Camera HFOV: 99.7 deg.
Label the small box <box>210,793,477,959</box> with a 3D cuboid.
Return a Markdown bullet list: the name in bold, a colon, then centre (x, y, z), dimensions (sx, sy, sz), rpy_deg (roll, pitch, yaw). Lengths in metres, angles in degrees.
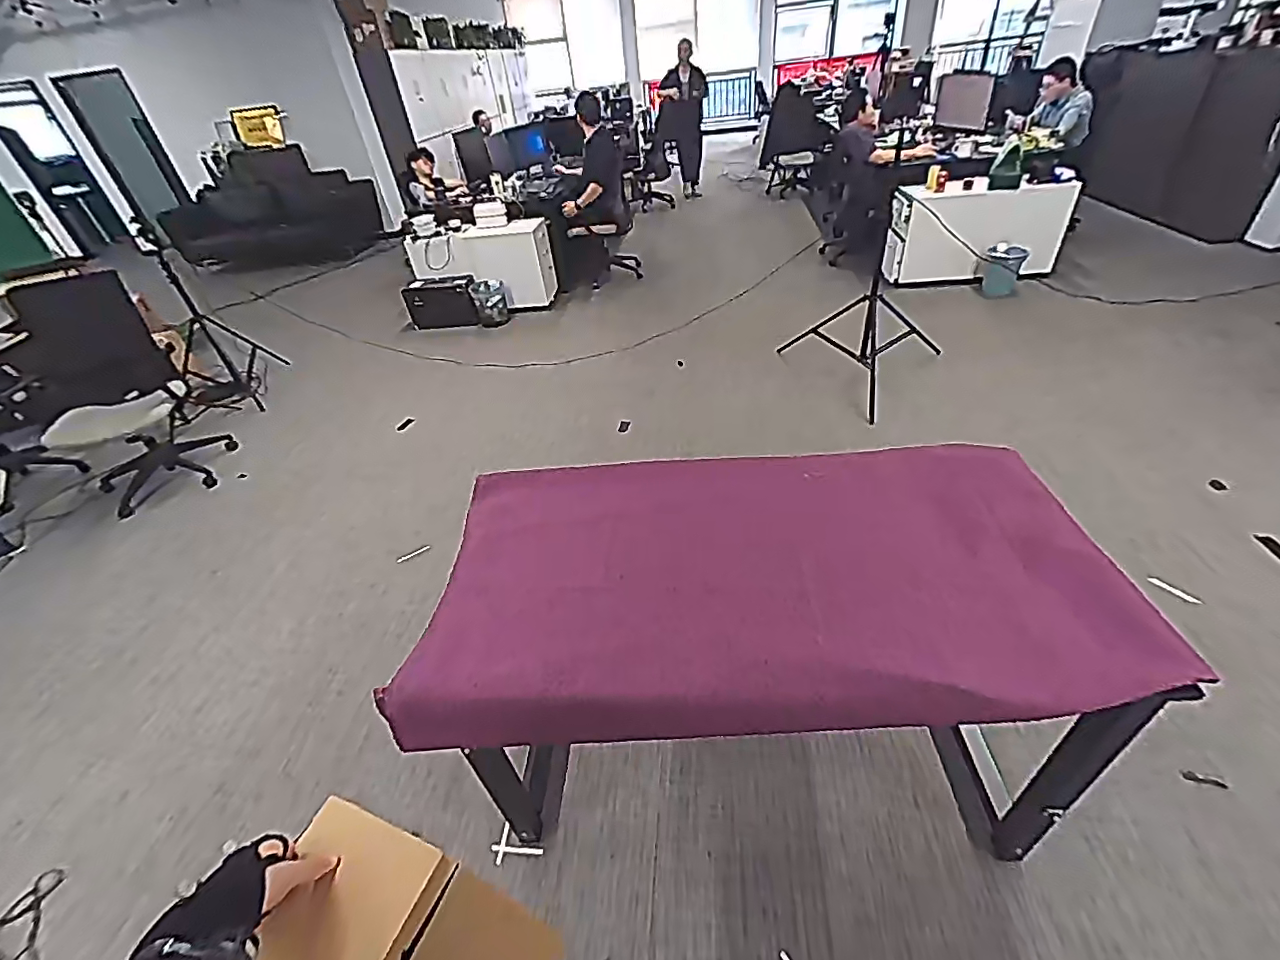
- **small box**: centre (-0.305, 0.491, 0.602), dimensions (0.179, 0.176, 0.168), rpy_deg (19, 46, 14)
